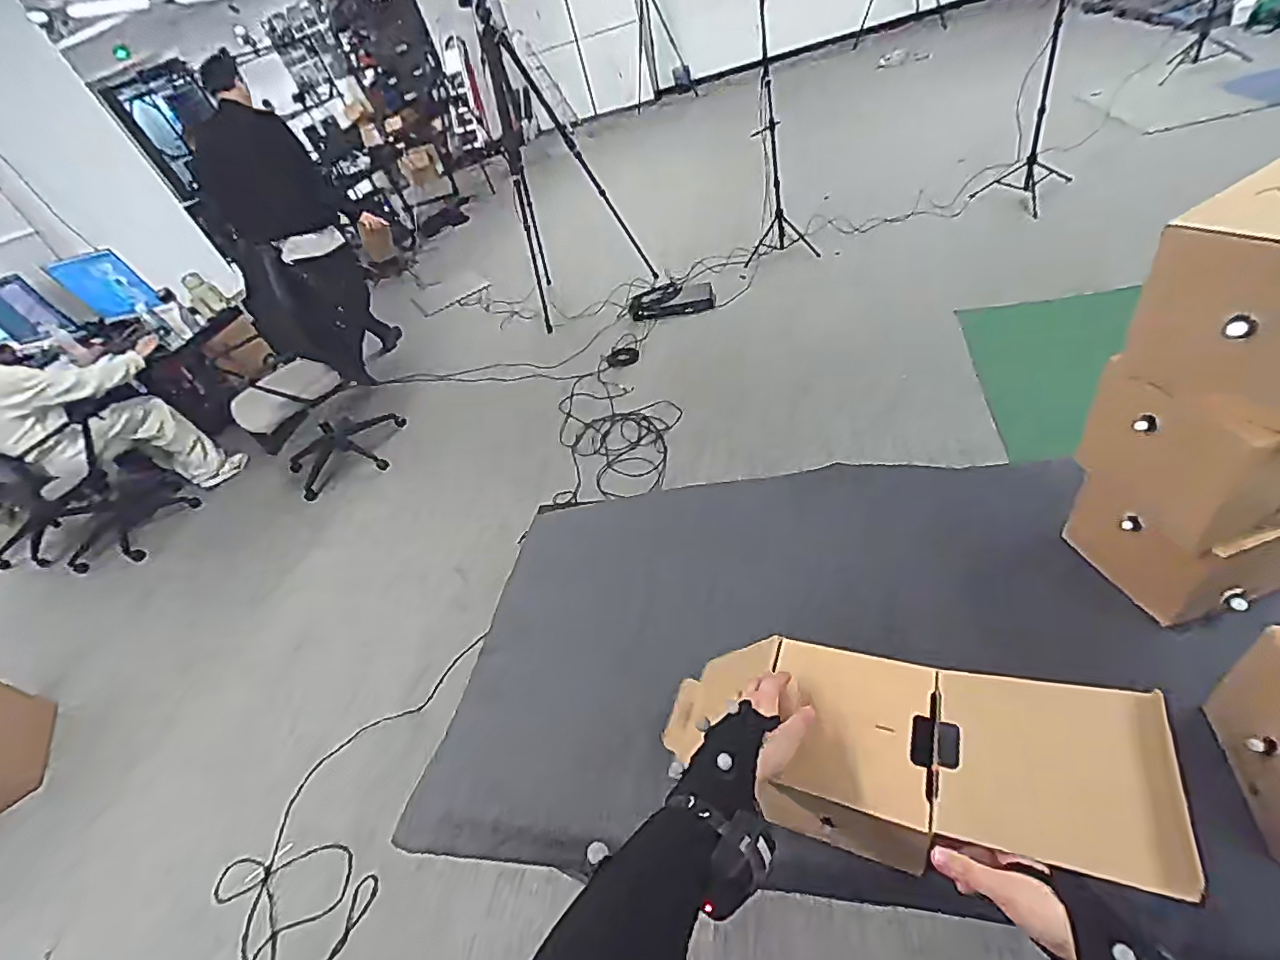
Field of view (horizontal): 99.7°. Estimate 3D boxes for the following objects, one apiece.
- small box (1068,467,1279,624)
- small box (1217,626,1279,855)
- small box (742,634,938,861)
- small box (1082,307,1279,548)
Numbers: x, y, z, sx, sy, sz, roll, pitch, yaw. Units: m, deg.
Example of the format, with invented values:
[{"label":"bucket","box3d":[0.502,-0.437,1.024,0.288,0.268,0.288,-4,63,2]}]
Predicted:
[{"label":"small box","box3d":[0.712,0.054,0.703,0.168,0.176,0.179,-22,44,3]},{"label":"small box","box3d":[0.692,0.256,0.496,0.179,0.176,0.168,-1,43,22]},{"label":"small box","box3d":[0.235,0.307,0.625,0.179,0.176,0.168,5,47,28]},{"label":"small box","box3d":[0.645,-0.057,0.598,0.168,0.176,0.179,-20,42,6]}]
